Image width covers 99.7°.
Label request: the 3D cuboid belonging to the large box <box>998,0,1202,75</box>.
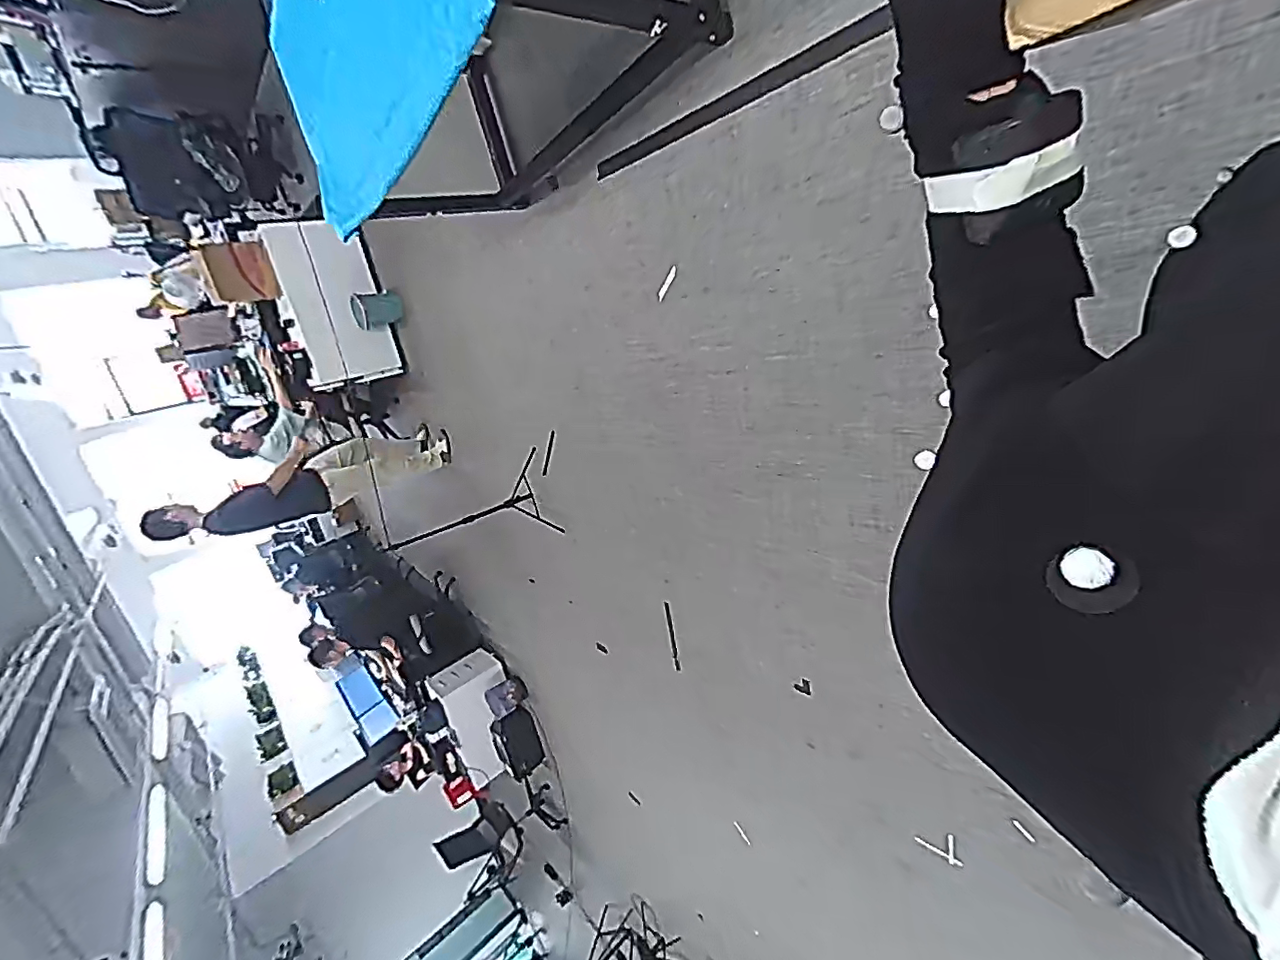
[{"bbox_3d":[0.373,-0.419,0.167,0.408,0.320,0.320,5,123,50],"label":"large box"}]
